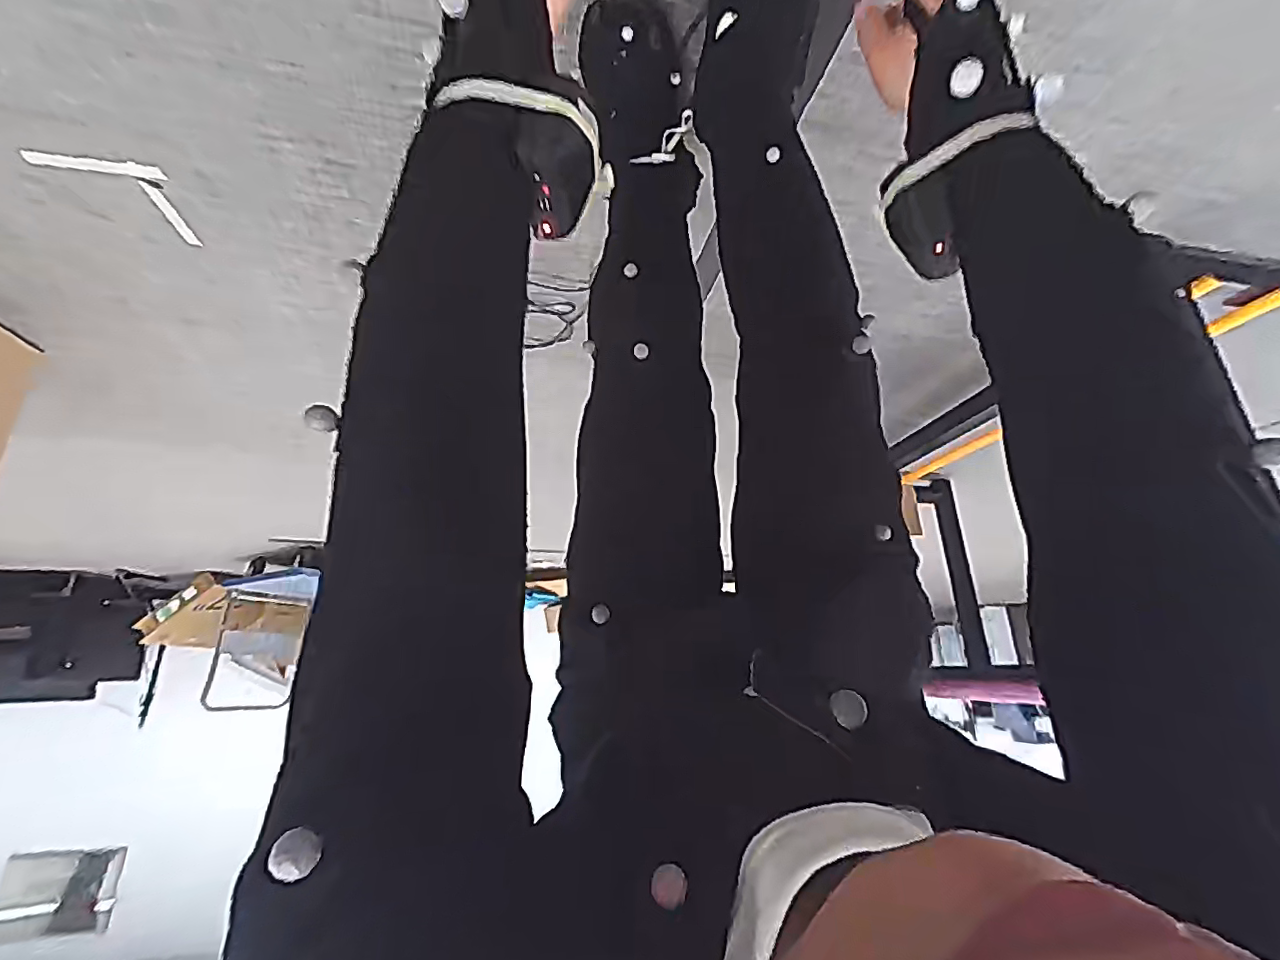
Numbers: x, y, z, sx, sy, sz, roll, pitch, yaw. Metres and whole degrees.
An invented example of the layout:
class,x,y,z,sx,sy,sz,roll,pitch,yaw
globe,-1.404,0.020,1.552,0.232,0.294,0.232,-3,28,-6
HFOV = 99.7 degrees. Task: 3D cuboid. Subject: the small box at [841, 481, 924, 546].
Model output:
class,x,y,z,sx,sy,sz,roll,pitch,yaw
small box,0.778,0.109,1.755,0.179,0.176,0.168,3,159,-12
